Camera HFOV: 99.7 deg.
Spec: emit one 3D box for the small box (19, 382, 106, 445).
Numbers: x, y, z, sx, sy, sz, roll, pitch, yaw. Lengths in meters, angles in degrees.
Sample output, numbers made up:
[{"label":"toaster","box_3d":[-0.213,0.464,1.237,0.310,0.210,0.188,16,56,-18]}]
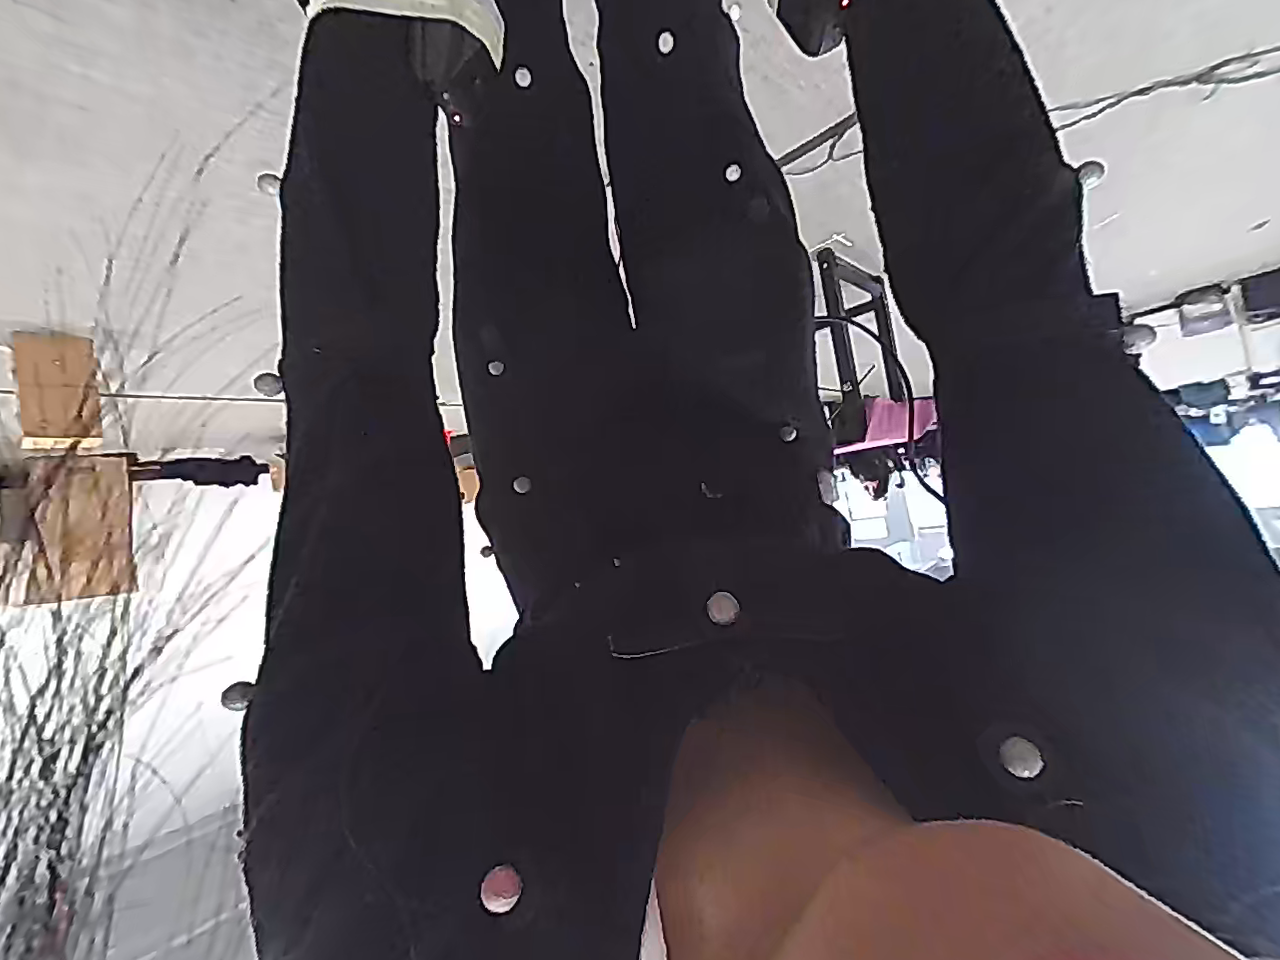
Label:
[{"label":"small box","box_3d":[-1.862,-0.214,1.740,0.168,0.176,0.179,-11,178,39]}]
